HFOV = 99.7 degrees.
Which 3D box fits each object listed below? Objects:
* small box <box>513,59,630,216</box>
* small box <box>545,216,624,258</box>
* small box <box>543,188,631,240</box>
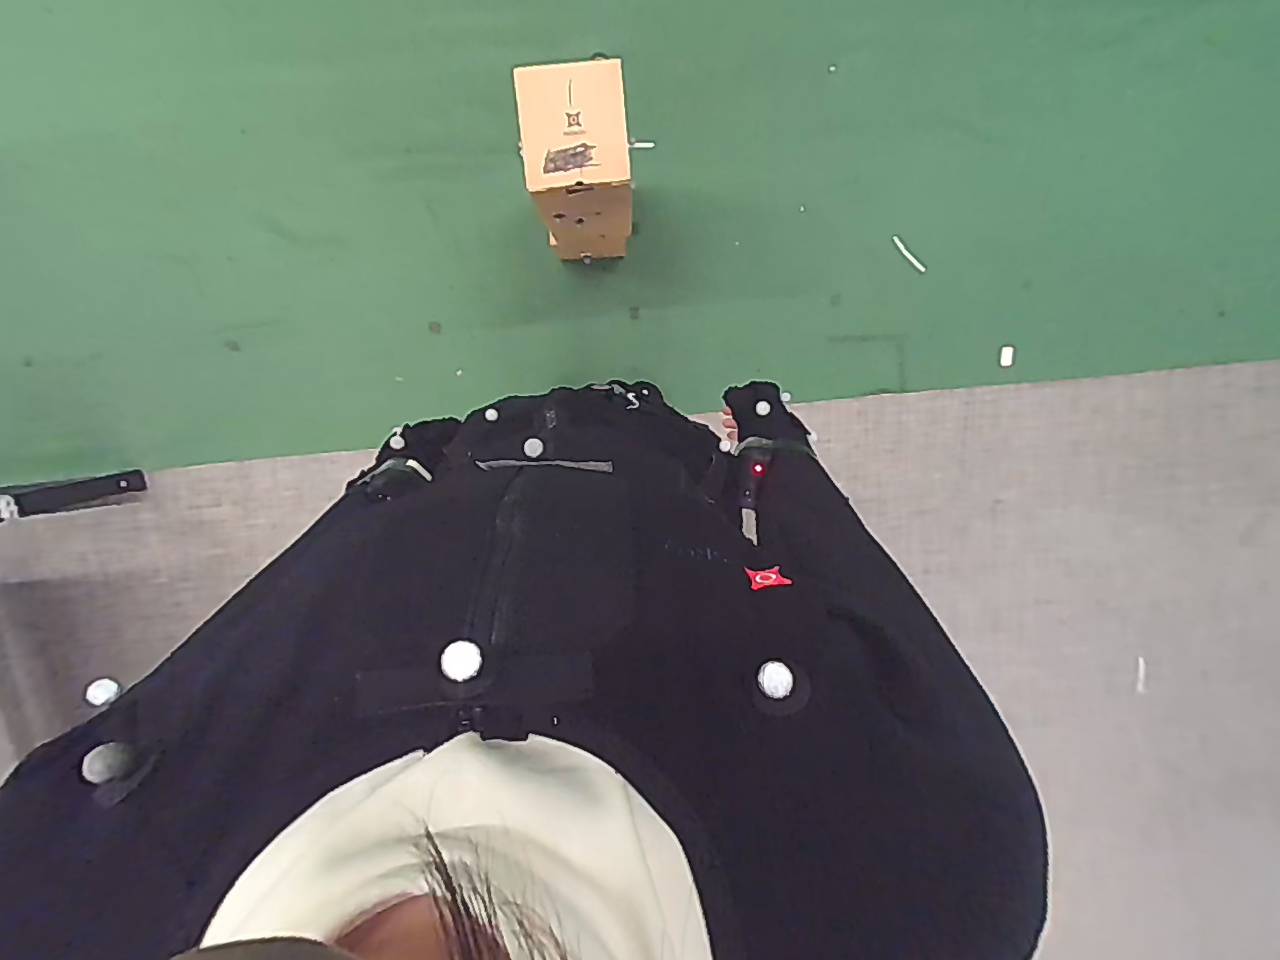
[{"bbox_3d":[-0.105,-0.558,0.907,0.168,0.176,0.179,-5,100,-1],"label":"small box"},{"bbox_3d":[-0.121,-0.610,1.212,0.168,0.176,0.179,-2,101,0],"label":"small box"},{"bbox_3d":[-0.107,-0.590,1.069,0.168,0.176,0.179,-5,100,0],"label":"small box"}]
